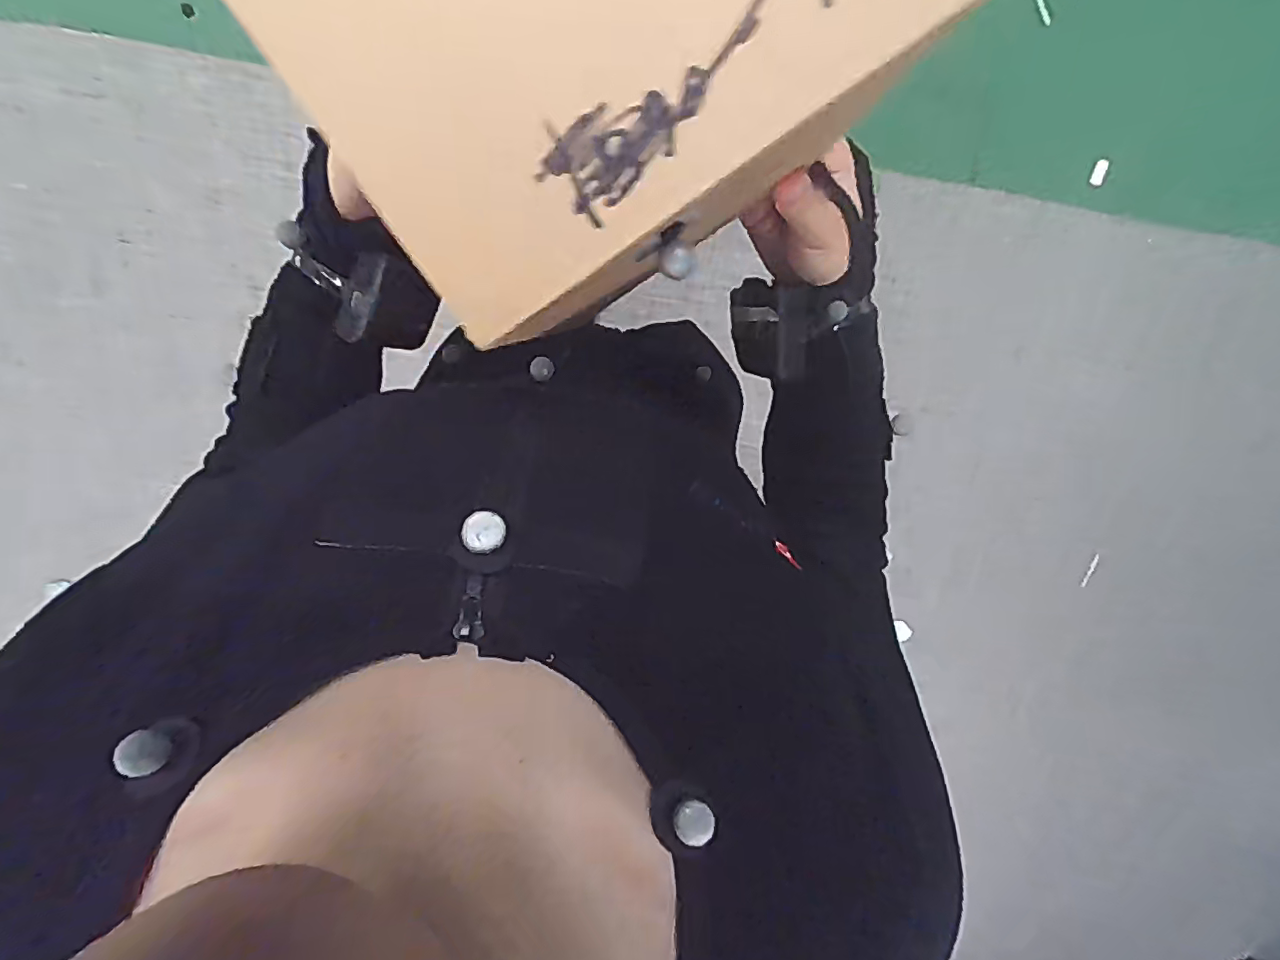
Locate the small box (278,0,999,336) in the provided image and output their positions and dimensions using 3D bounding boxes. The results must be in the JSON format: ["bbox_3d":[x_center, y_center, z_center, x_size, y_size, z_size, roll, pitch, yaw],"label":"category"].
[{"bbox_3d":[-0.016,-0.174,0.214,0.168,0.176,0.179,-32,103,10],"label":"small box"}]
